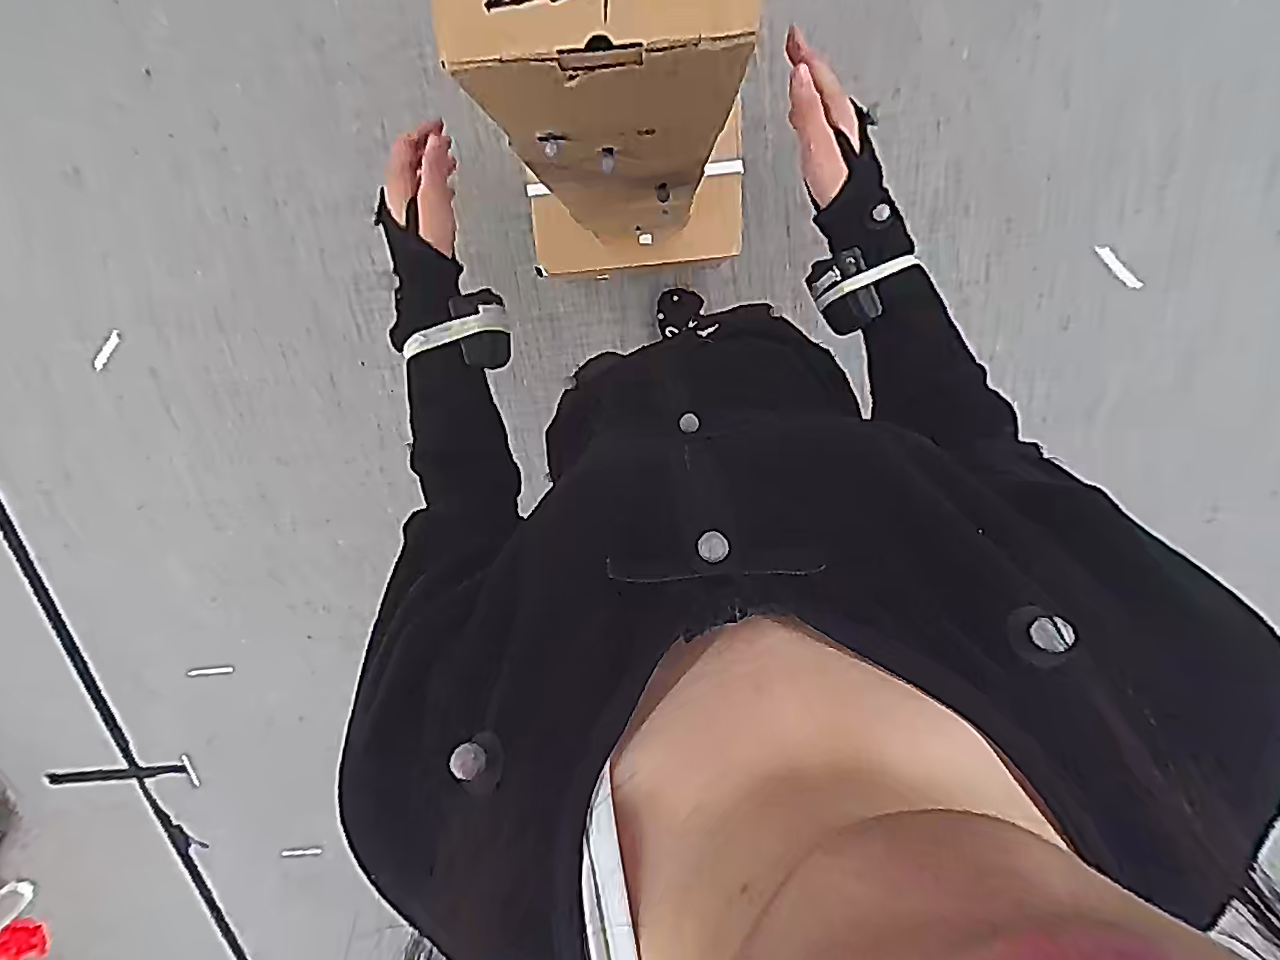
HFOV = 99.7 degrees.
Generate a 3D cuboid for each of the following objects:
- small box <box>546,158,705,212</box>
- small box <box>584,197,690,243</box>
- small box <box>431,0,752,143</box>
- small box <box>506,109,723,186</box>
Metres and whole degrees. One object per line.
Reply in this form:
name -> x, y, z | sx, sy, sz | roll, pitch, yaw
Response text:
small box -> -0.020, -0.423, 0.639 | 0.179, 0.176, 0.168 | -3, 108, 2
small box -> -0.010, -0.523, 0.952 | 0.179, 0.176, 0.168 | -7, 109, 3
small box -> -0.025, -0.324, 0.329 | 0.168, 0.176, 0.179 | -3, 108, 3
small box -> -0.024, -0.374, 0.485 | 0.179, 0.176, 0.168 | -3, 109, 2
